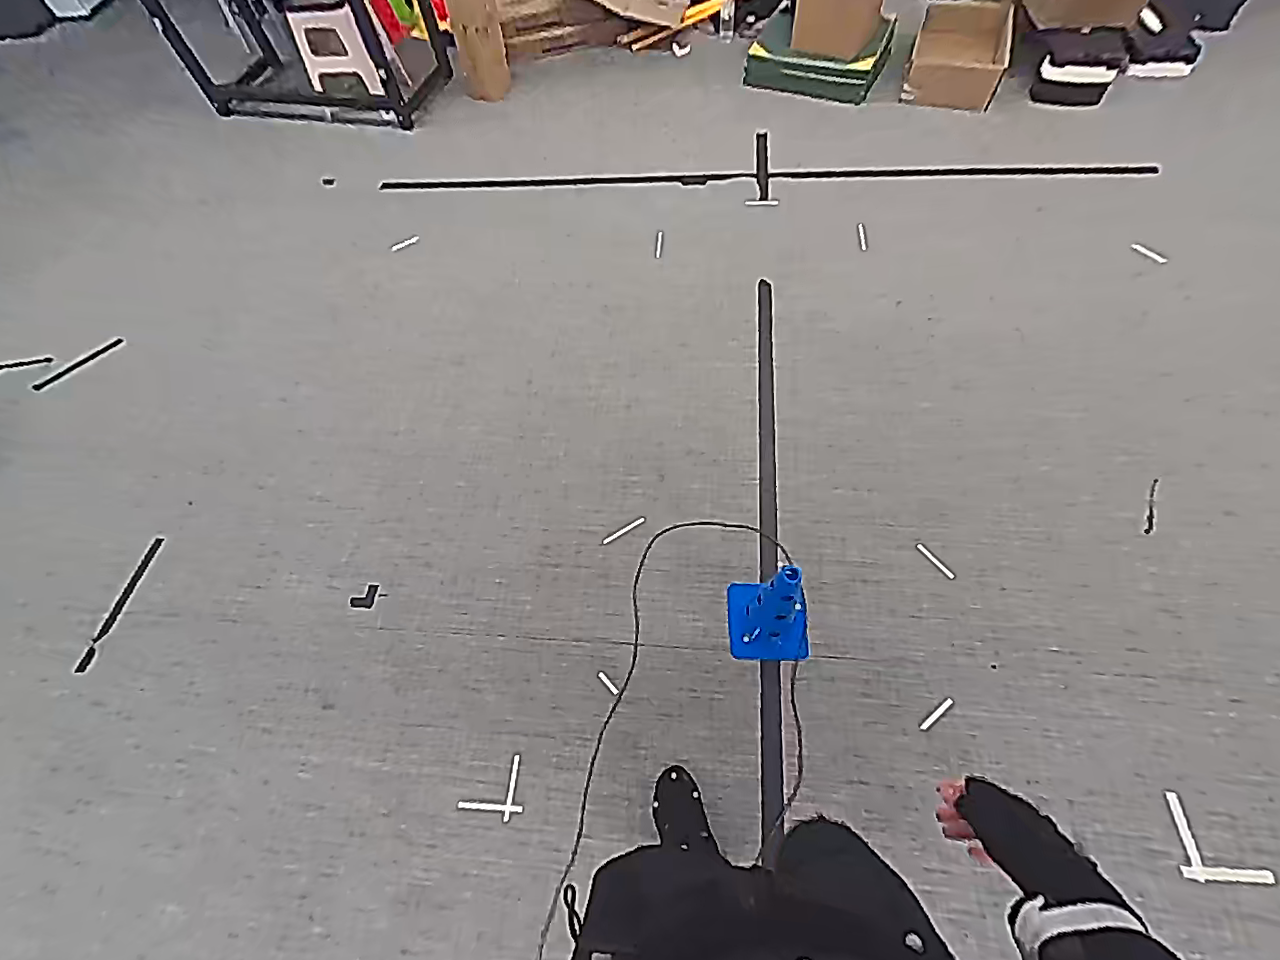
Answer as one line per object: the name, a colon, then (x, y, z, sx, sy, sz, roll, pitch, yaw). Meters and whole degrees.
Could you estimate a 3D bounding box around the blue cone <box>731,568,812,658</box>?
blue cone: (0.329, 0.280, 1.248, 0.192, 0.380, 0.193, -2, 61, 3)
